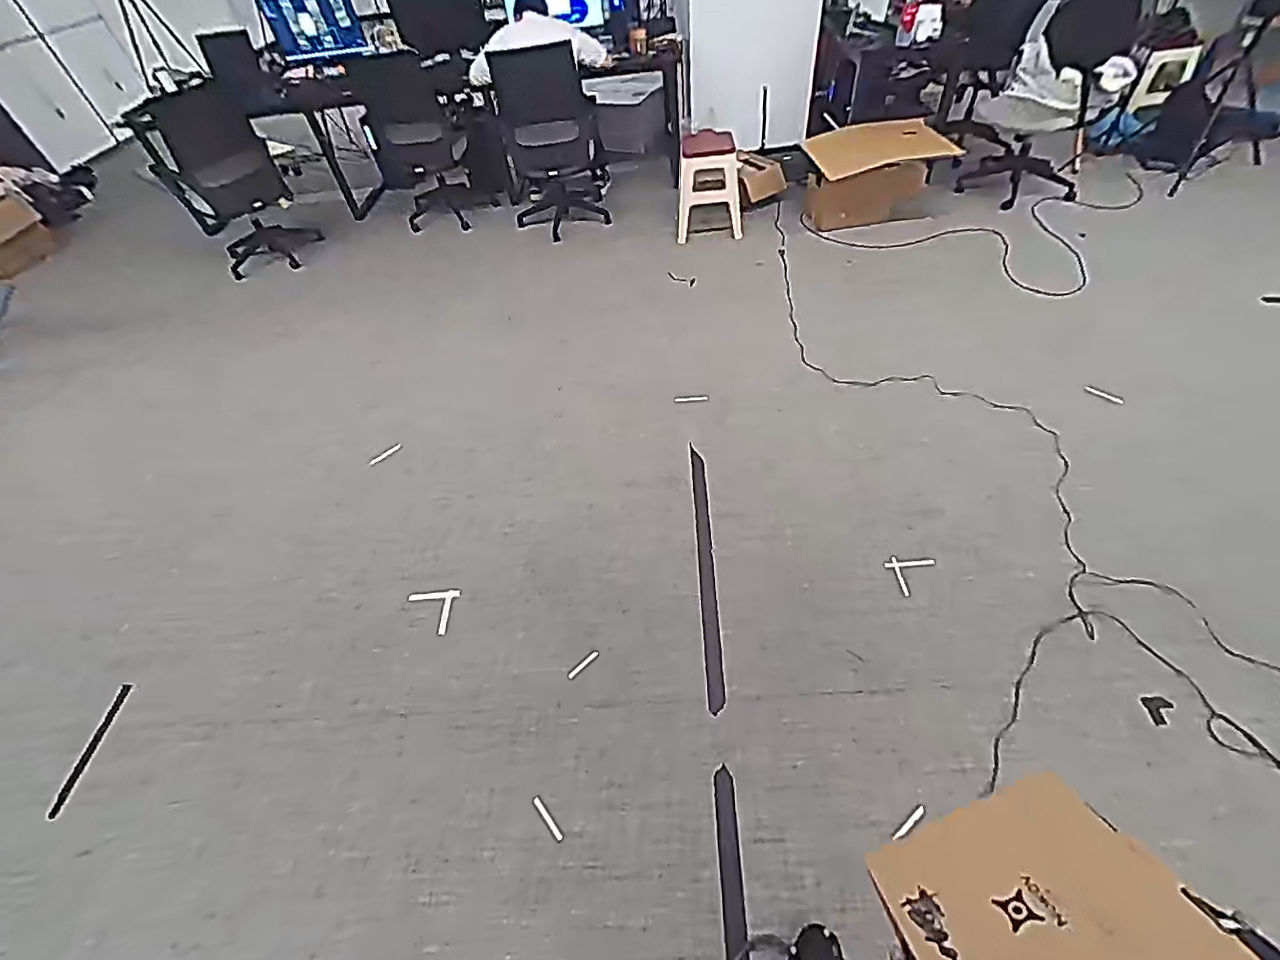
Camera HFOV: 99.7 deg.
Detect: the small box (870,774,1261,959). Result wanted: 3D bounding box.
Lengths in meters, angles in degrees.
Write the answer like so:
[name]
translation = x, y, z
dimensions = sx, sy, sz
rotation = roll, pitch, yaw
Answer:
[small box]
translation = 0.311, 0.371, 0.400
dimensions = 0.179, 0.176, 0.168
rotation = -25, 11, 2
